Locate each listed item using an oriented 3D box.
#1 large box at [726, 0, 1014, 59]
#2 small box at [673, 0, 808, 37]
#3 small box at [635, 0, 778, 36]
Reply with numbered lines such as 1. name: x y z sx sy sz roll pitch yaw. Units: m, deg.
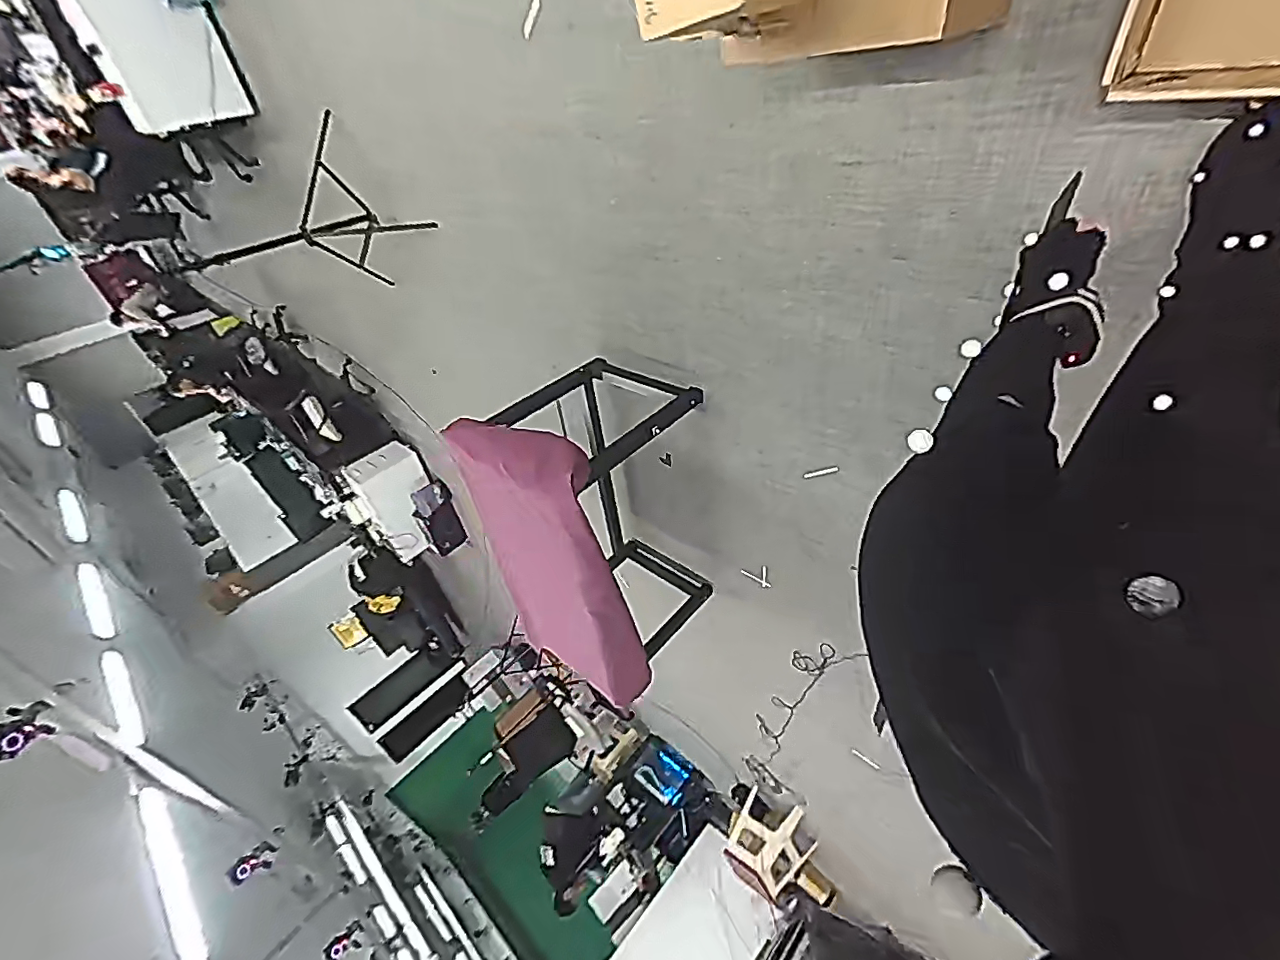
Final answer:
1. large box: 0.385 -0.928 0.885 0.408 0.320 0.320 24 141 37
2. small box: 0.155 -0.815 0.834 0.168 0.176 0.179 23 138 36
3. small box: 0.100 -0.707 0.697 0.179 0.176 0.168 22 139 41
